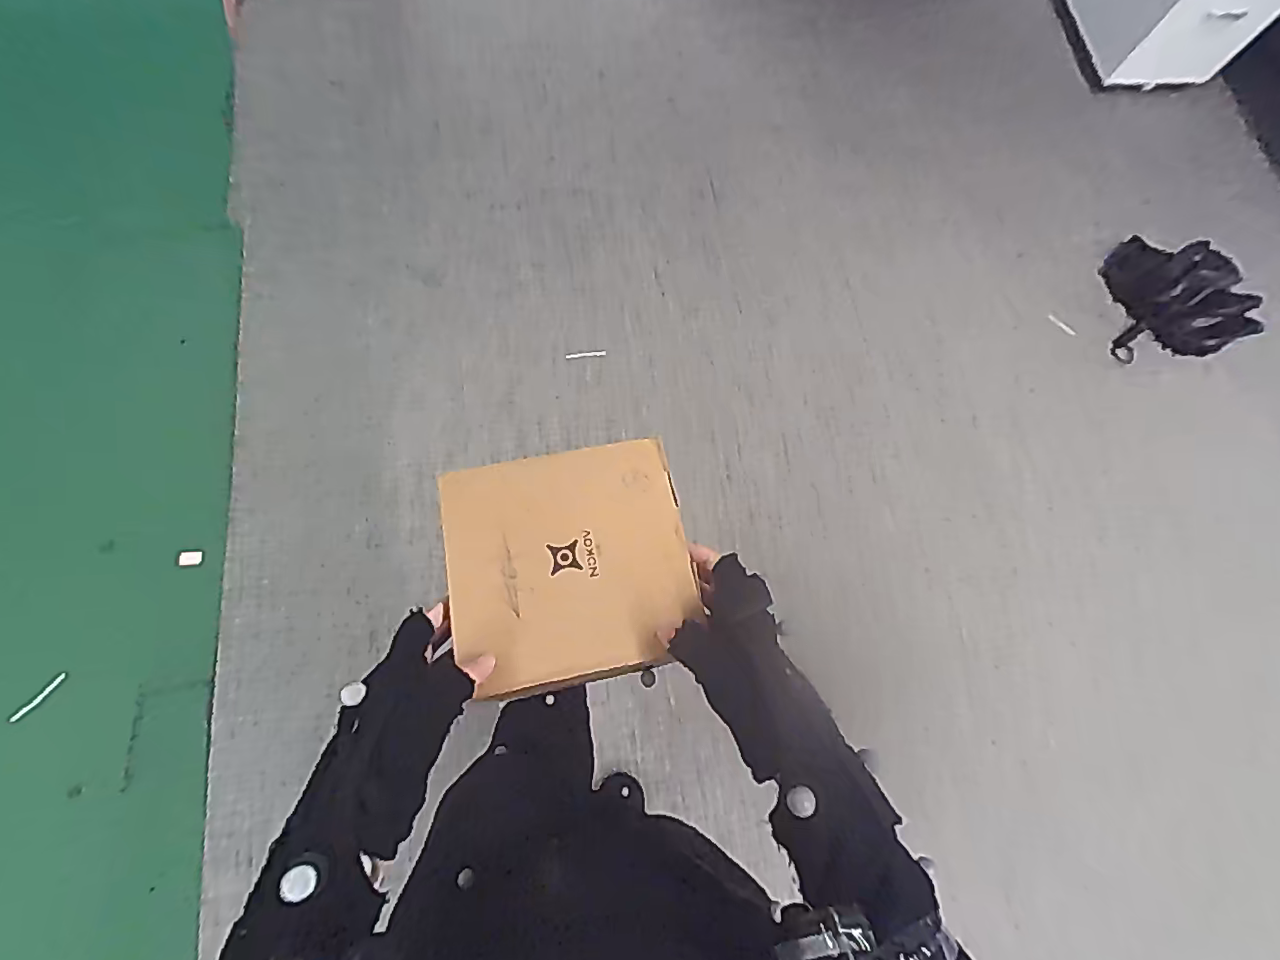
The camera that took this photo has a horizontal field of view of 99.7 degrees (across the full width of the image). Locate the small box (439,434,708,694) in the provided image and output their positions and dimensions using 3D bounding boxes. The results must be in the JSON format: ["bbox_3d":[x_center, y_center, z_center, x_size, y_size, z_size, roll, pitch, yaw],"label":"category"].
[{"bbox_3d":[-0.057,0.081,0.471,0.179,0.176,0.168,-11,69,-7],"label":"small box"}]
